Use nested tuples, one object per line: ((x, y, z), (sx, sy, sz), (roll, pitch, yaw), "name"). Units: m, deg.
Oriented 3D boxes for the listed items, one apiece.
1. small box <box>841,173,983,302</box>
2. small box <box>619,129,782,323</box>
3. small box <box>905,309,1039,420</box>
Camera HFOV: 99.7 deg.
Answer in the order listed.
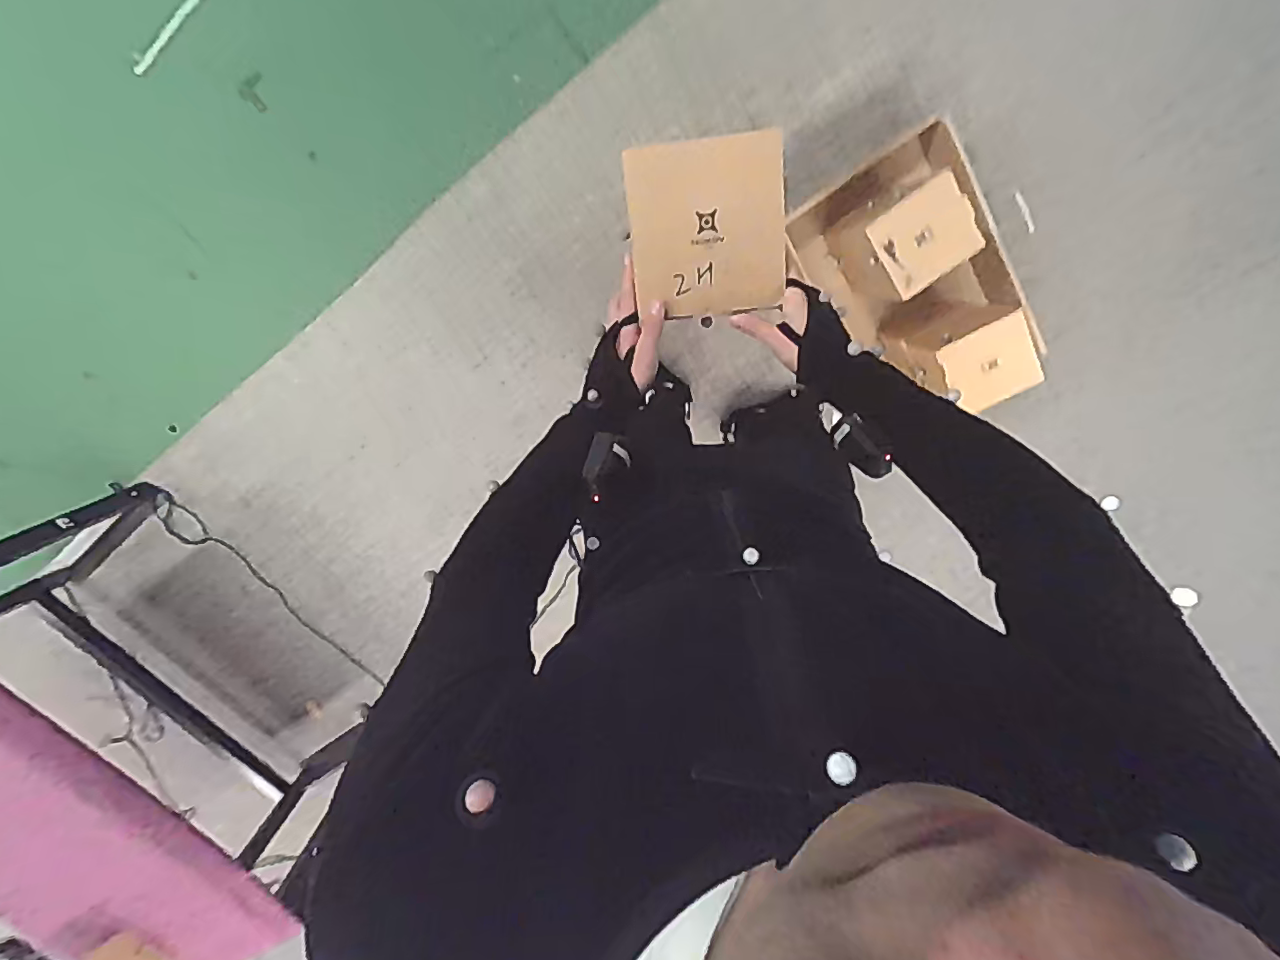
((0.548, -0.490, 1.113), (0.179, 0.176, 0.168), (-34, 105, 13), "small box")
((0.070, -0.287, 0.649), (0.168, 0.176, 0.179), (-5, 108, 6), "small box")
((0.725, -0.262, 1.196), (0.179, 0.176, 0.168), (-27, 108, 13), "small box")
